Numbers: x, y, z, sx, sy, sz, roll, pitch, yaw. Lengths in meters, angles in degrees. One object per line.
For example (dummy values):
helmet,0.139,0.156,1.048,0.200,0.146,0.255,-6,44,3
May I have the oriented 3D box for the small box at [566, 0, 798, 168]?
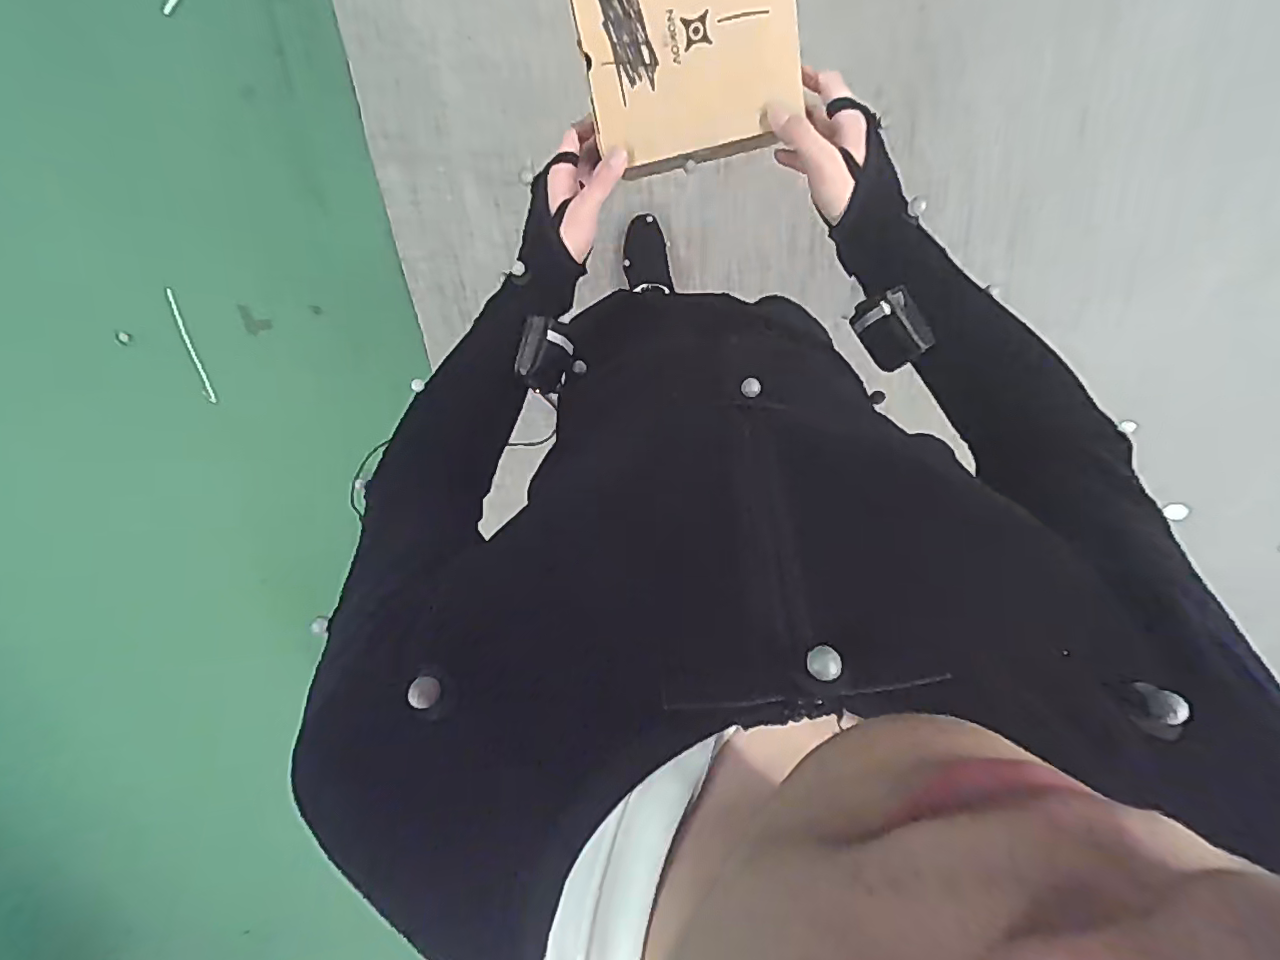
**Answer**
small box,0.041,-0.402,0.503,0.179,0.176,0.168,-8,116,11
